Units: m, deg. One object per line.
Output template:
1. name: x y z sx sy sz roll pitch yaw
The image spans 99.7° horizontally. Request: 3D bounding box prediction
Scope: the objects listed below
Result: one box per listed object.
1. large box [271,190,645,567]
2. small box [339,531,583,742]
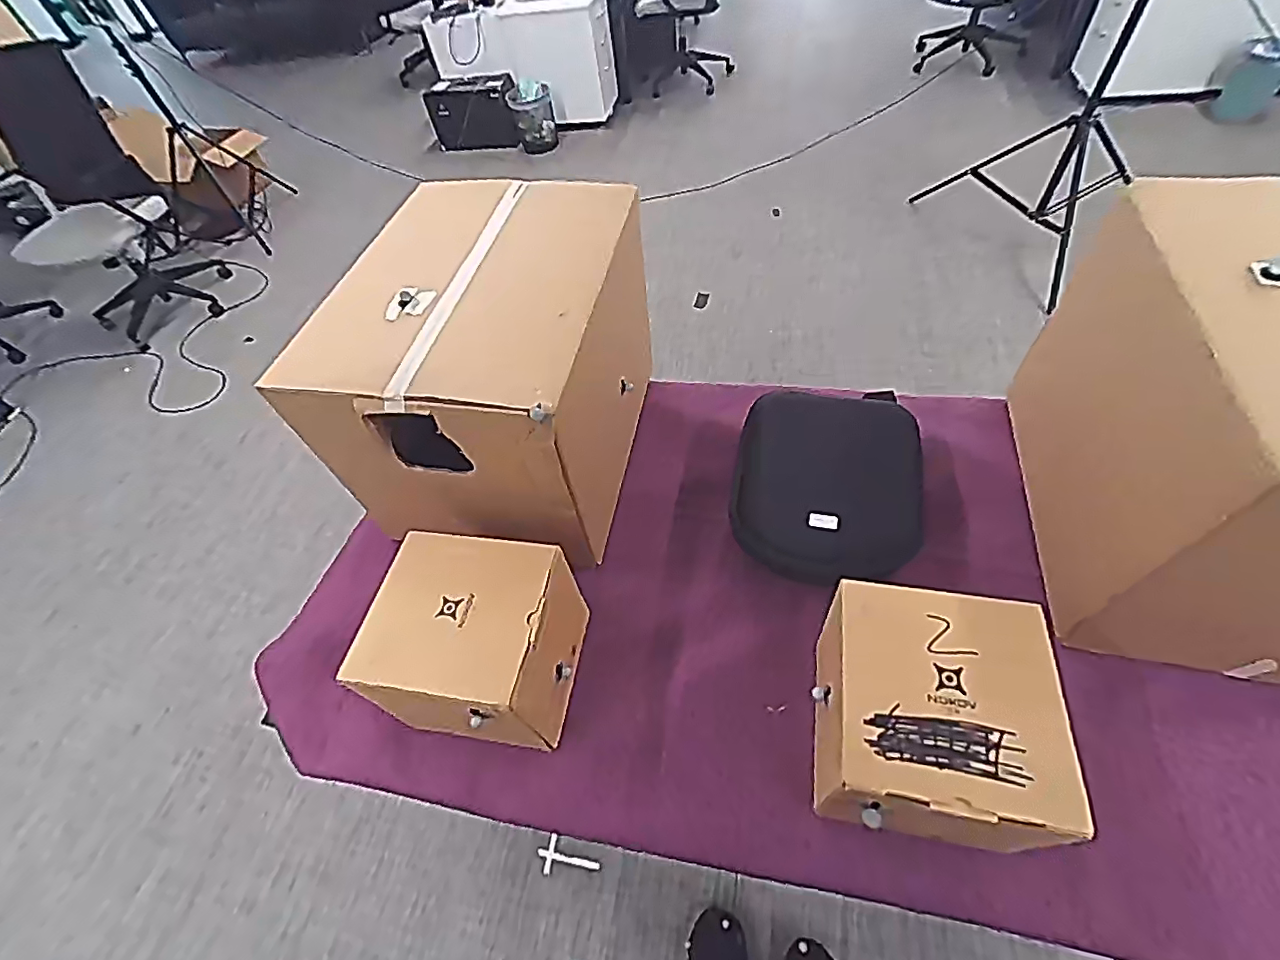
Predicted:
1. large box: -0.178 -0.140 0.744 0.320 0.320 0.408 5 57 10
2. small box: -0.176 0.175 0.597 0.179 0.176 0.168 4 53 10
